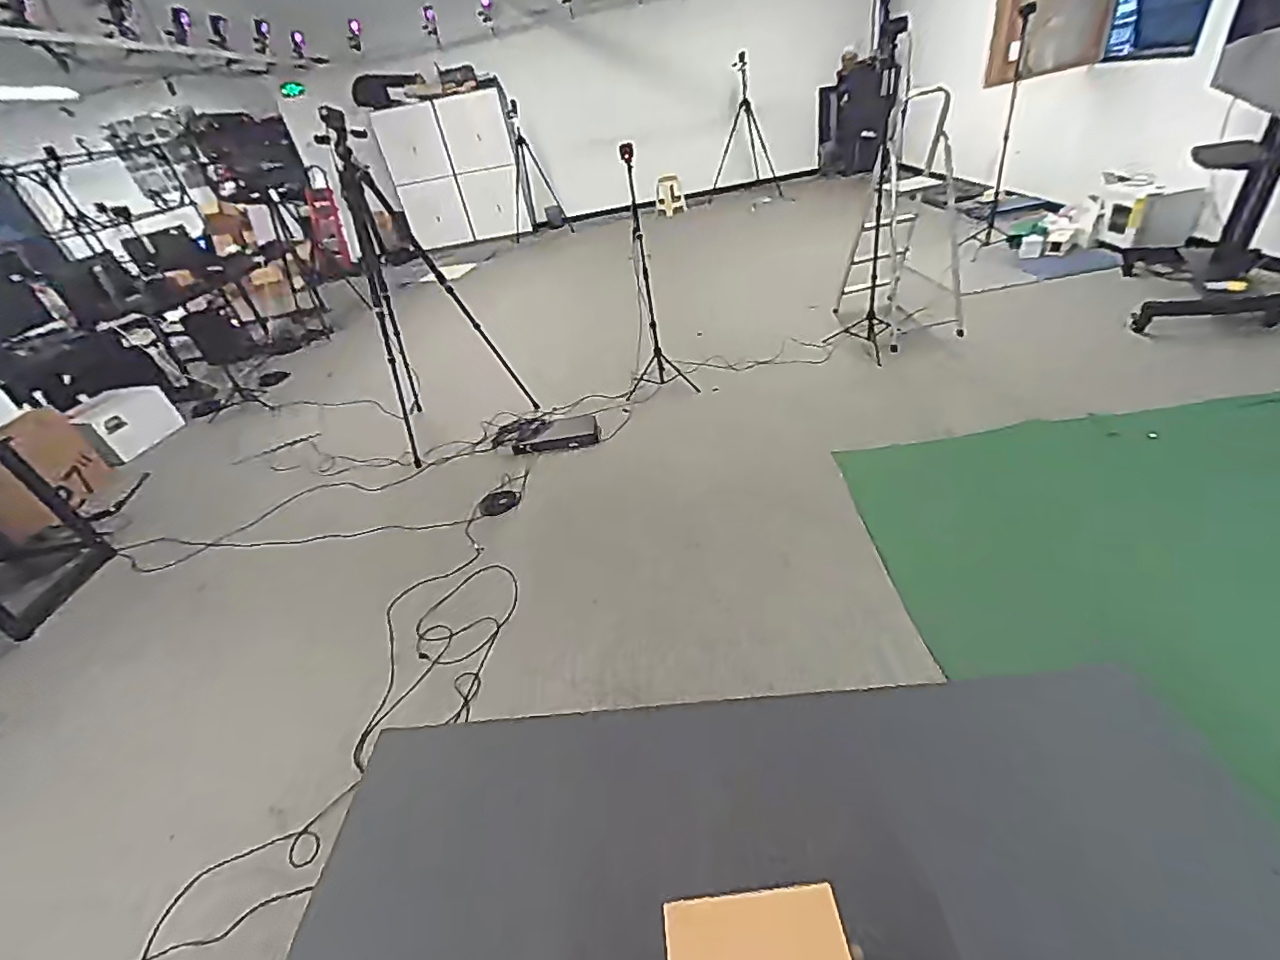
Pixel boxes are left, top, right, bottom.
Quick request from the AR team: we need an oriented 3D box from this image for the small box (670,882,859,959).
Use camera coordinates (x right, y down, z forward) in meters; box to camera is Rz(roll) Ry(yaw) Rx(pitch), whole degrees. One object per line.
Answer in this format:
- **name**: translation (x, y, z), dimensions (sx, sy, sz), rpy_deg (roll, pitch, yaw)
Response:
- **small box**: translation (0.124, 0.509, 0.493), dimensions (0.168, 0.176, 0.179), rpy_deg (-10, 34, 3)
